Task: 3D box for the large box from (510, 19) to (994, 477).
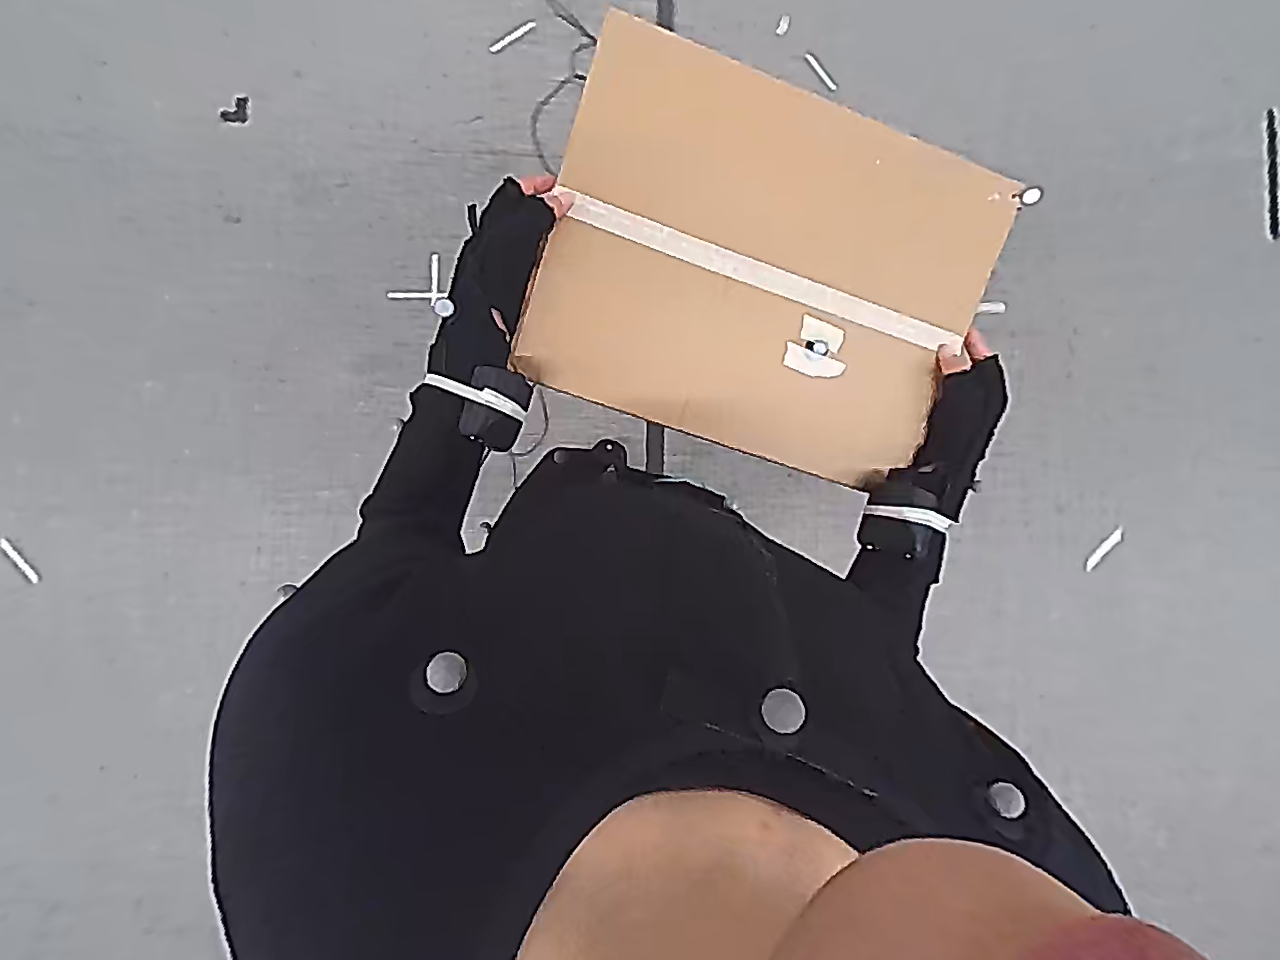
[{"bbox_3d":[0.091,-0.224,0.652,0.408,0.320,0.320,16,99,-9],"label":"large box"}]
